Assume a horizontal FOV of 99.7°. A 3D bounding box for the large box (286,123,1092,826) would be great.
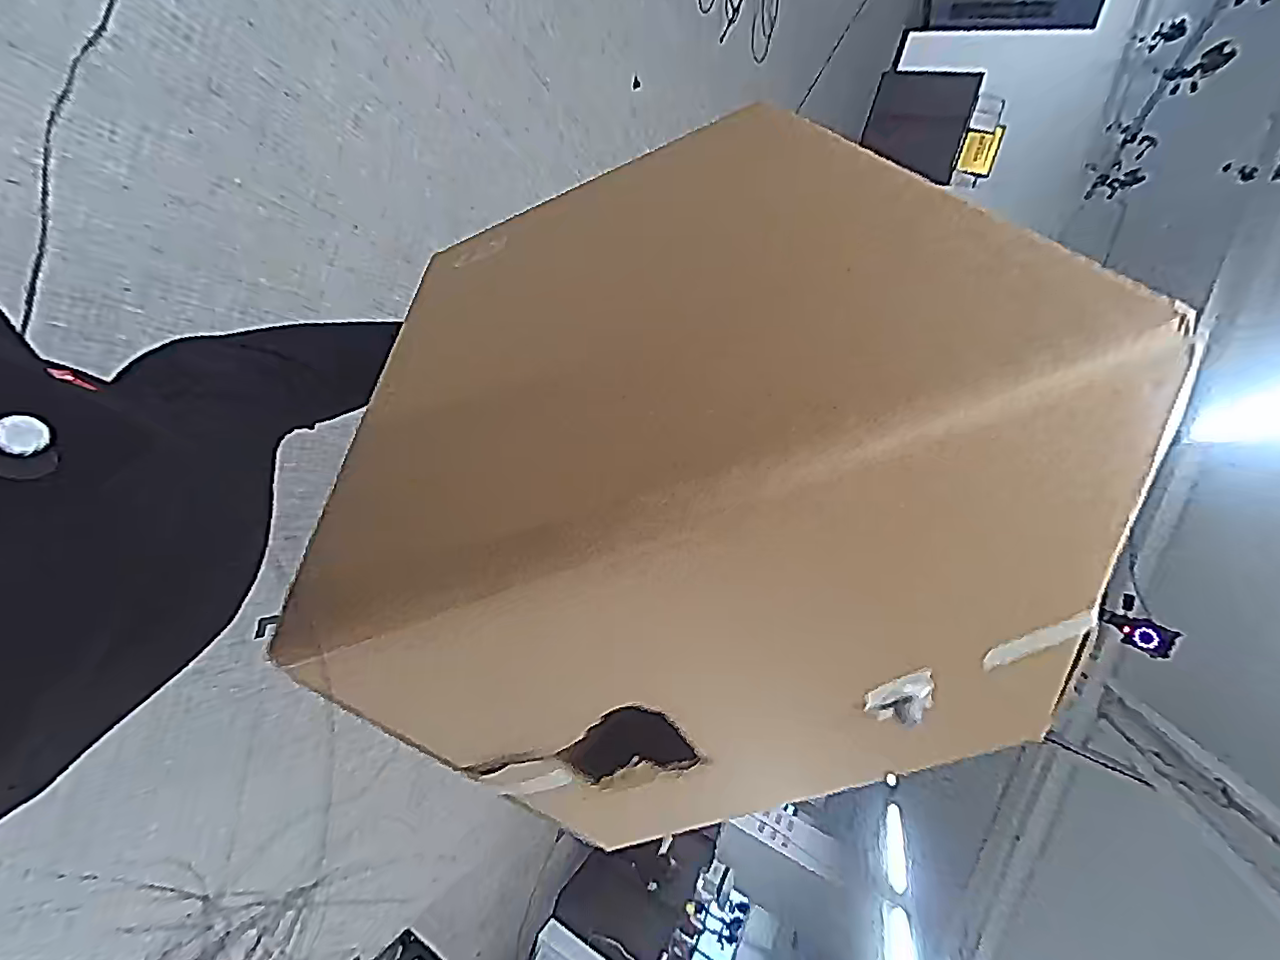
[{"bbox_3d":[0.034,-0.024,0.425,0.408,0.320,0.320,-100,168,-48],"label":"large box"}]
